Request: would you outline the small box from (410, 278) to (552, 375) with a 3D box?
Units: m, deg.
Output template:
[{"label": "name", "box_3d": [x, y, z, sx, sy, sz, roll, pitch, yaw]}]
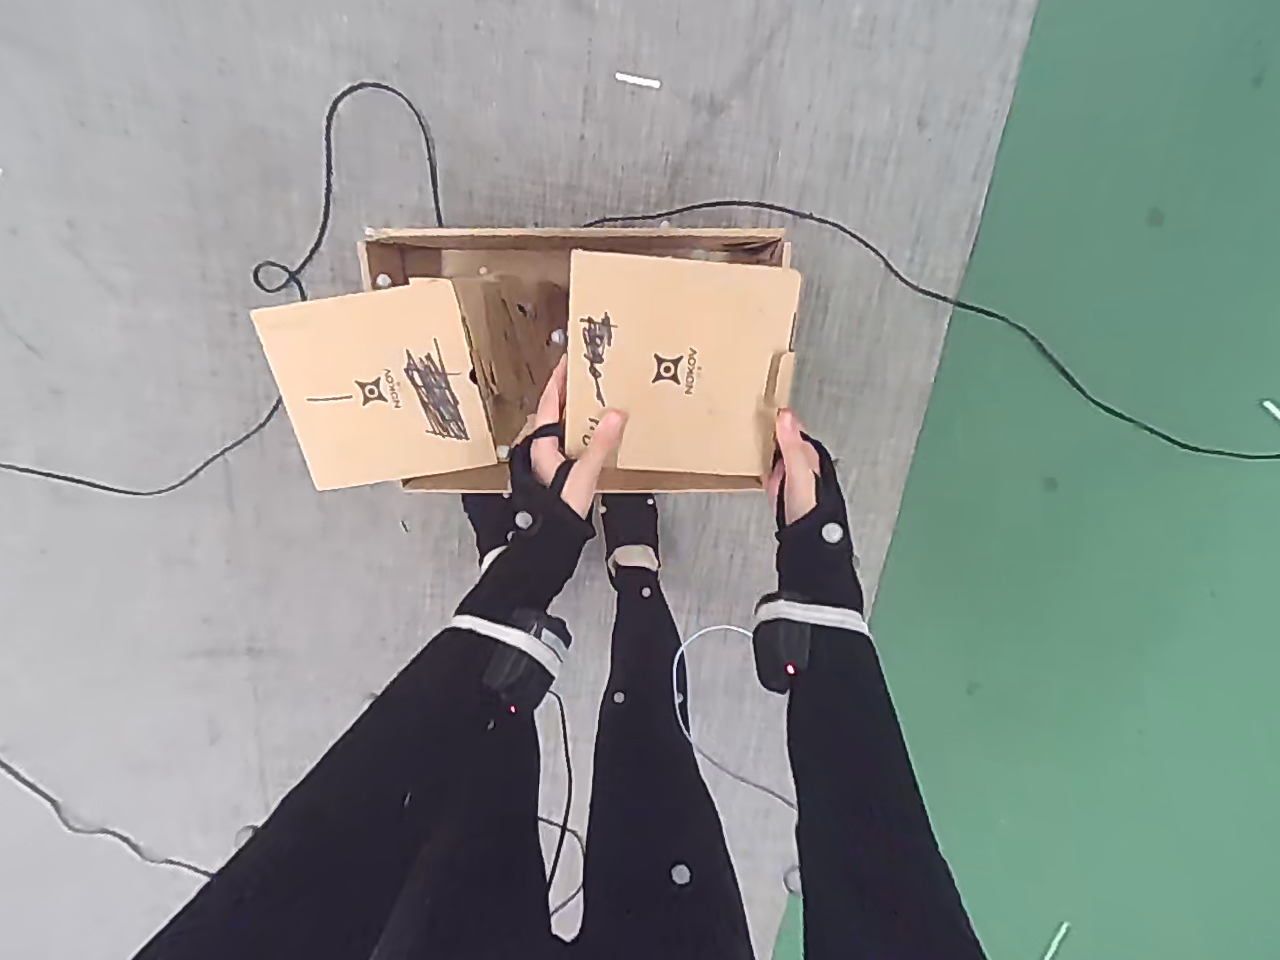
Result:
[{"label": "small box", "box_3d": [-0.238, -0.228, 0.855, 0.179, 0.176, 0.168, 0, 110, -3]}]

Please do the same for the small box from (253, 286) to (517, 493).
[{"label": "small box", "box_3d": [-0.232, -0.102, 0.553, 0.179, 0.176, 0.168, -8, 110, 2]}]

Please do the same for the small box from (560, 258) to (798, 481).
[{"label": "small box", "box_3d": [0.024, -0.107, 0.504, 0.179, 0.176, 0.168, 4, 108, -3]}]

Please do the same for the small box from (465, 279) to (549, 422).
[{"label": "small box", "box_3d": [-0.225, -0.159, 0.708, 0.179, 0.176, 0.168, -15, 110, 4]}]
